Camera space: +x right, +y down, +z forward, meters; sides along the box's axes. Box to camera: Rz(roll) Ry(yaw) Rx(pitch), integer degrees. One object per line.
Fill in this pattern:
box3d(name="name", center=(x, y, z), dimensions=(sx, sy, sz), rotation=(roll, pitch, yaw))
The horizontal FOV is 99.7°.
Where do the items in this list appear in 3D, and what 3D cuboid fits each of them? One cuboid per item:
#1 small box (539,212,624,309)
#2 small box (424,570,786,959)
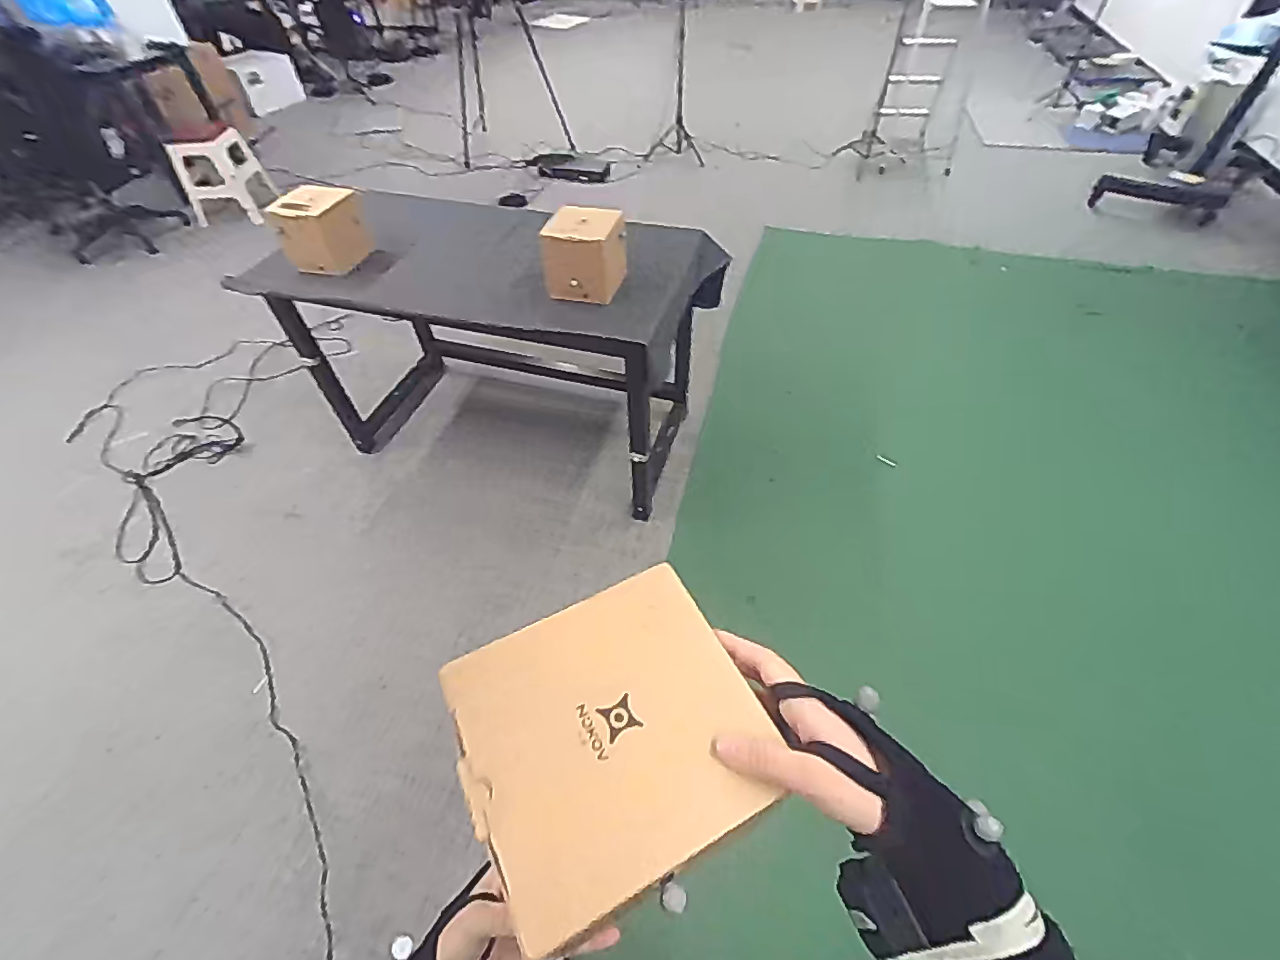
box3d(name="small box", center=(-0.141, -0.567, 1.397), dimensions=(0.168, 0.176, 0.179), rotation=(9, 50, 12))
box3d(name="small box", center=(-0.027, 0.203, 0.398), dimensions=(0.179, 0.176, 0.168), rotation=(-26, 57, -18))
